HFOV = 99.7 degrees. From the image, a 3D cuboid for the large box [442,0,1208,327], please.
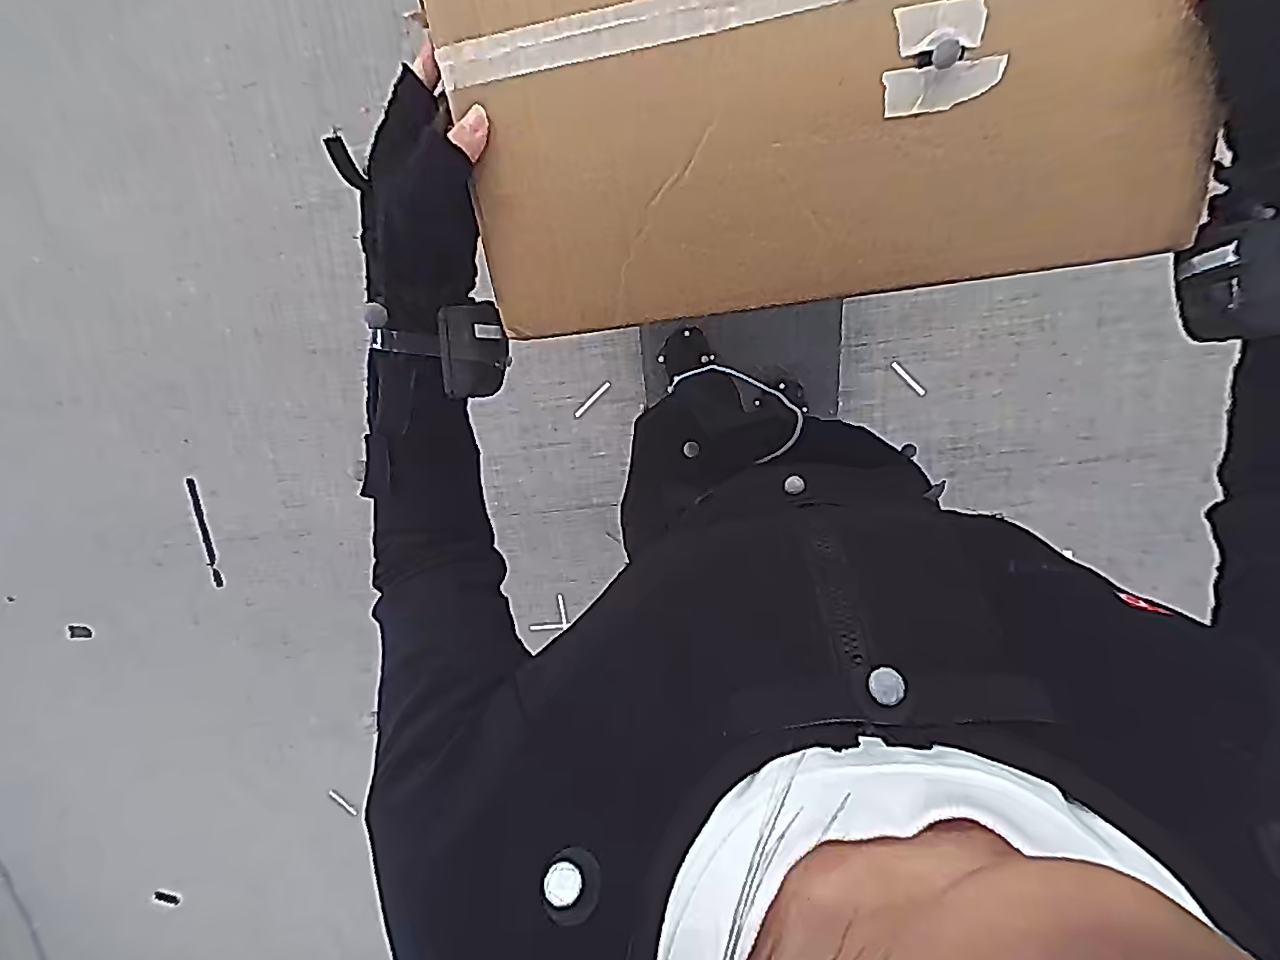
[{"bbox_3d":[0.101,-0.323,0.426,0.408,0.320,0.320,-6,113,9],"label":"large box"}]
